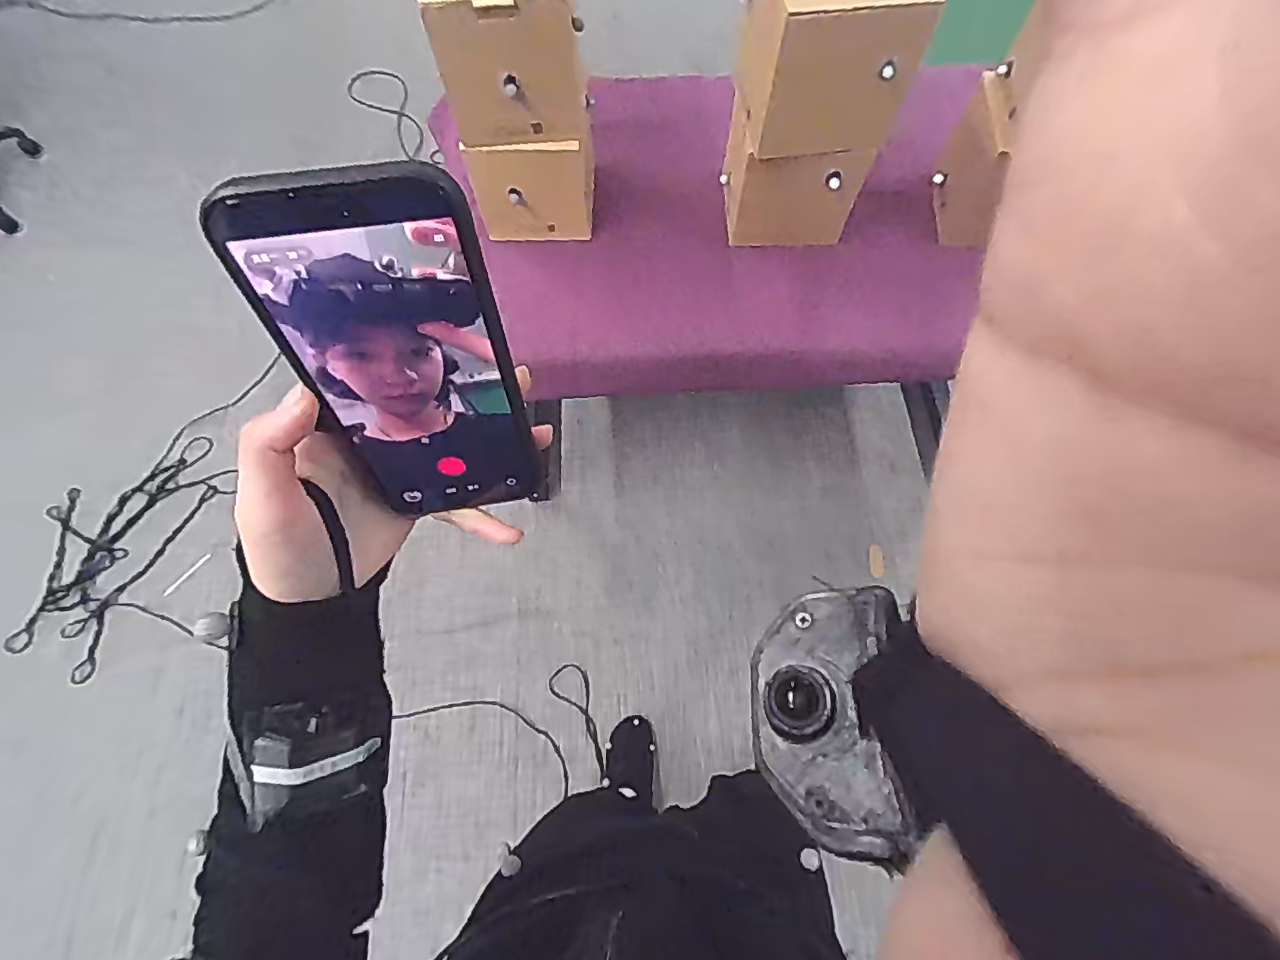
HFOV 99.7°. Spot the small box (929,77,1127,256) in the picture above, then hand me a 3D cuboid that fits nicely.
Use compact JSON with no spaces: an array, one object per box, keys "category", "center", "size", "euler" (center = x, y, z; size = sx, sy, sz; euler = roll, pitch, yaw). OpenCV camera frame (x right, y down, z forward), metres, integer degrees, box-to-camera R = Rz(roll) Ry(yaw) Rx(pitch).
[{"category":"small box","center":[0.570,-0.464,0.819],"size":[0.179,0.176,0.168],"euler":[6,69,3]}]

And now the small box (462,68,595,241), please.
[{"category":"small box","center":[-0.160,-0.495,0.839],"size":[0.168,0.176,0.179],"euler":[0,69,1]}]

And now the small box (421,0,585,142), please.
[{"category":"small box","center":[-0.162,-0.561,0.688],"size":[0.168,0.176,0.179],"euler":[-4,70,-1]}]

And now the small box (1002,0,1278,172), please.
[{"category":"small box","center":[0.578,-0.508,0.661],"size":[0.179,0.176,0.168],"euler":[6,69,2]}]

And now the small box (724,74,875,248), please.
[{"category":"small box","center":[0.230,-0.477,0.826],"size":[0.179,0.176,0.168],"euler":[0,69,1]}]
